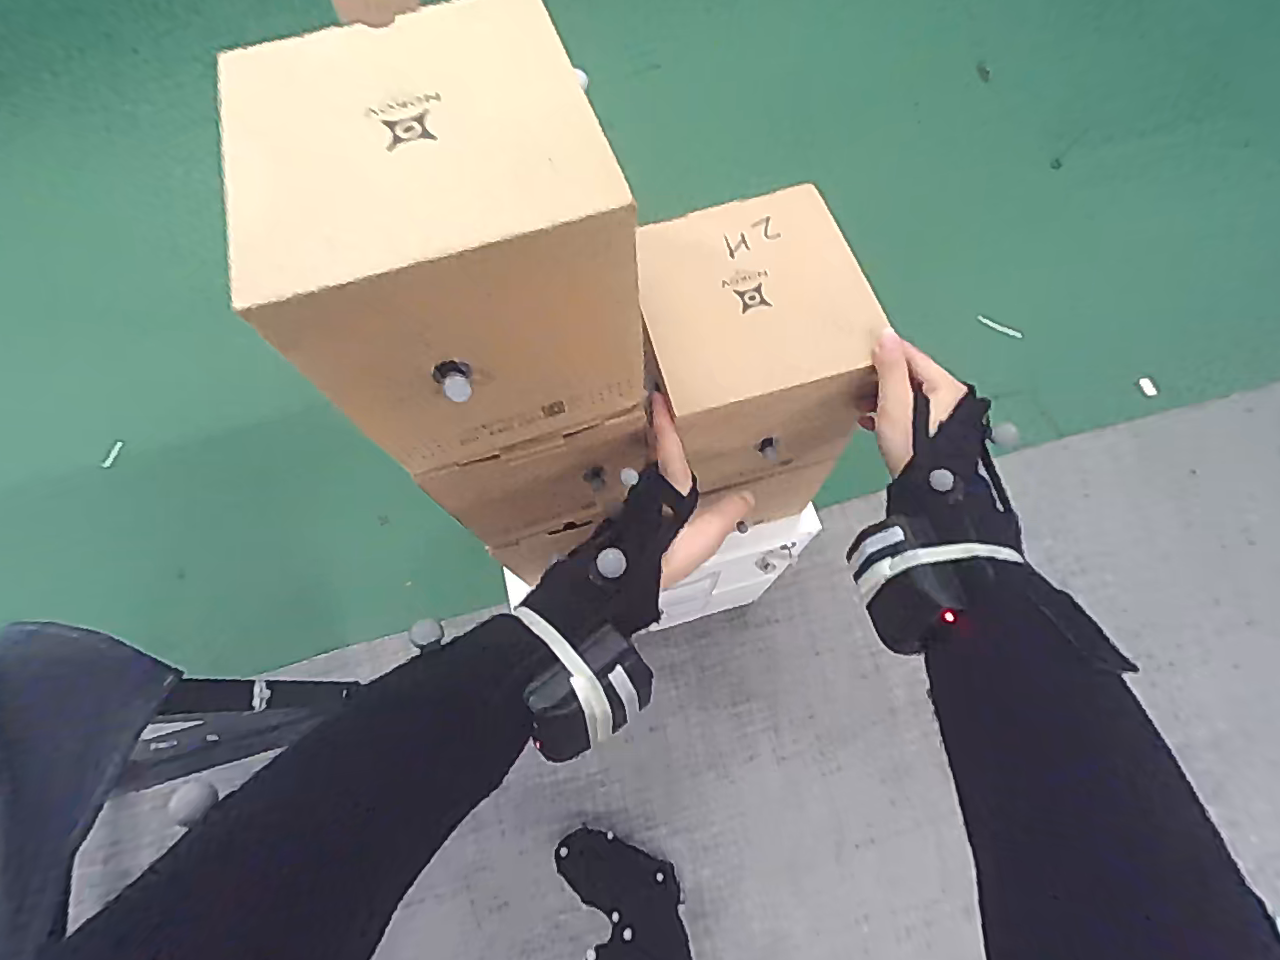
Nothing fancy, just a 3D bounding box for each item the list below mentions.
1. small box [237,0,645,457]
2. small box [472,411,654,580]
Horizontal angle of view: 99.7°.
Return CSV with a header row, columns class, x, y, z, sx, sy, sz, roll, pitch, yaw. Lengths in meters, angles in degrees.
class,x,y,z,sx,sy,sz,roll,pitch,yaw
small box,-0.098,-0.130,0.324,0.168,0.176,0.179,-18,67,-6
small box,-0.082,0.005,0.619,0.168,0.176,0.179,-14,66,-4
